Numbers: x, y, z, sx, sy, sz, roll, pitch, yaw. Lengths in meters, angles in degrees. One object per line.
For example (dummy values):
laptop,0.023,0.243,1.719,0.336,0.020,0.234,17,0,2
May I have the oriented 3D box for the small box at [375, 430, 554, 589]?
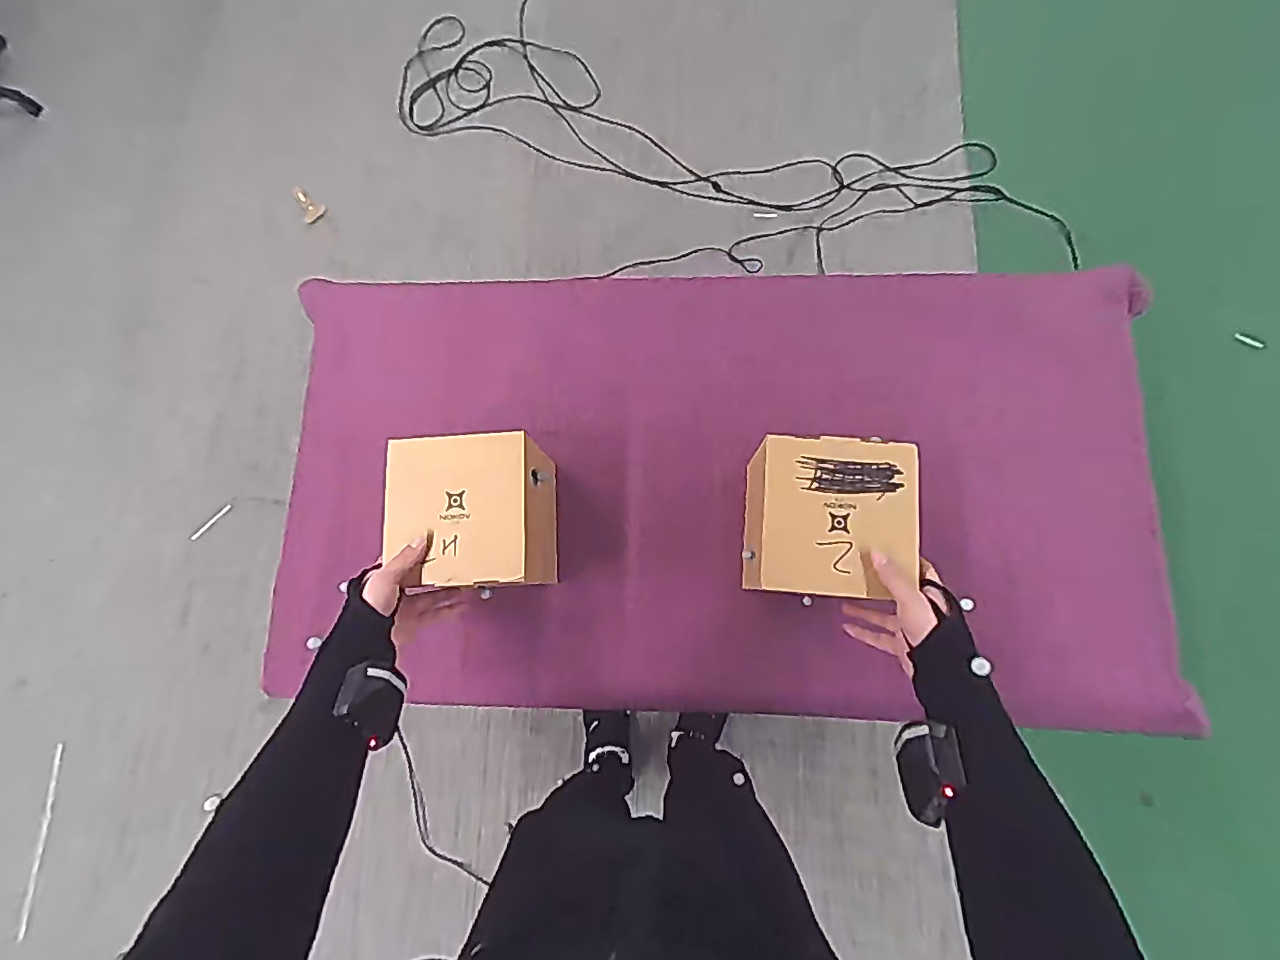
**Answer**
small box,-0.208,0.046,0.686,0.168,0.176,0.179,-3,78,3
